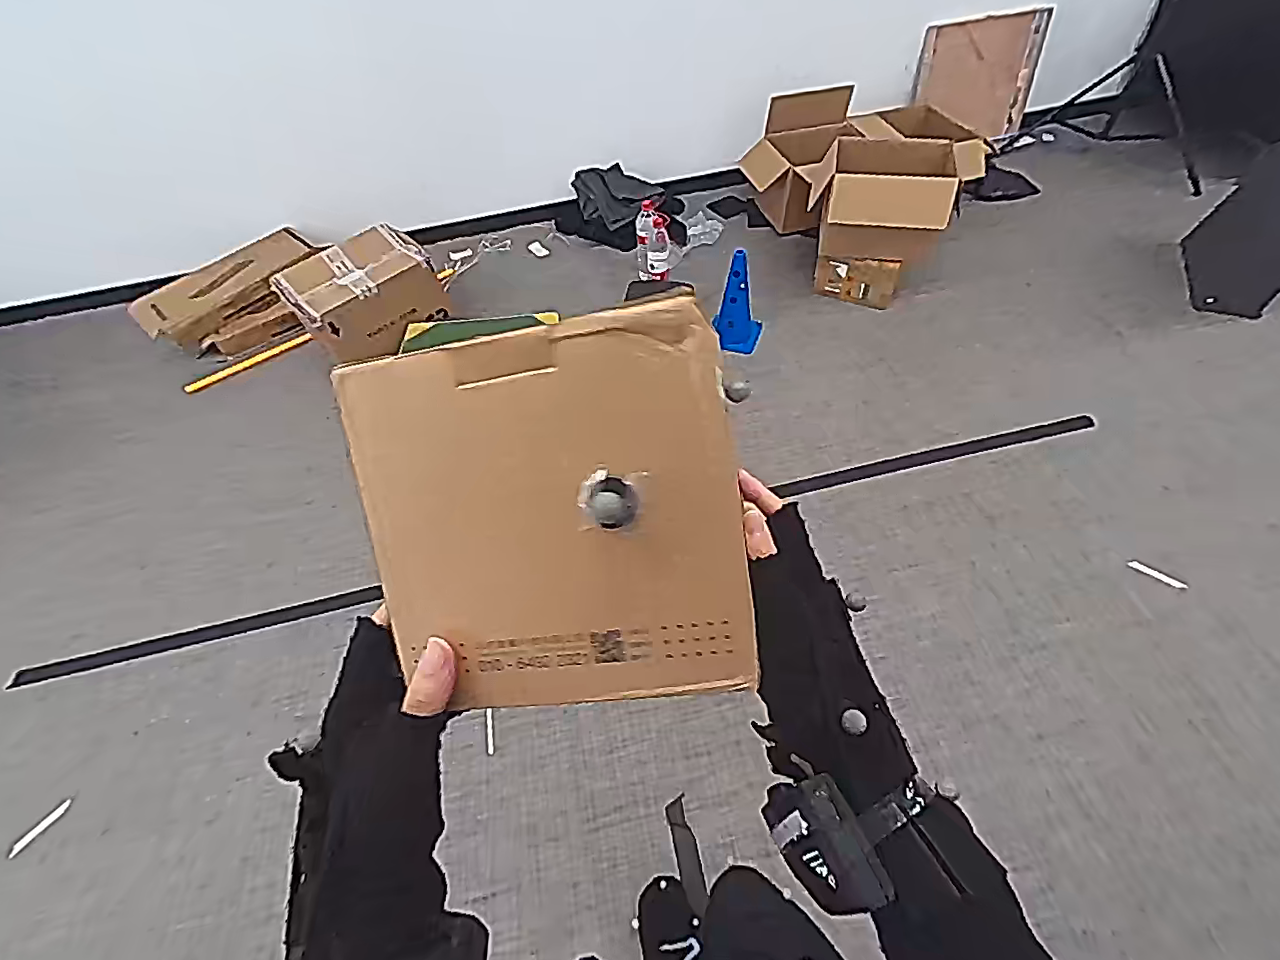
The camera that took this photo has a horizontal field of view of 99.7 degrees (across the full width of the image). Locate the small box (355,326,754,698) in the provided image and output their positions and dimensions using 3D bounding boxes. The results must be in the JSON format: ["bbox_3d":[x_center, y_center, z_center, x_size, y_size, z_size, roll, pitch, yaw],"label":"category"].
[{"bbox_3d":[-0.027,0.017,0.330,0.168,0.179,0.176,-9,97,15],"label":"small box"}]
